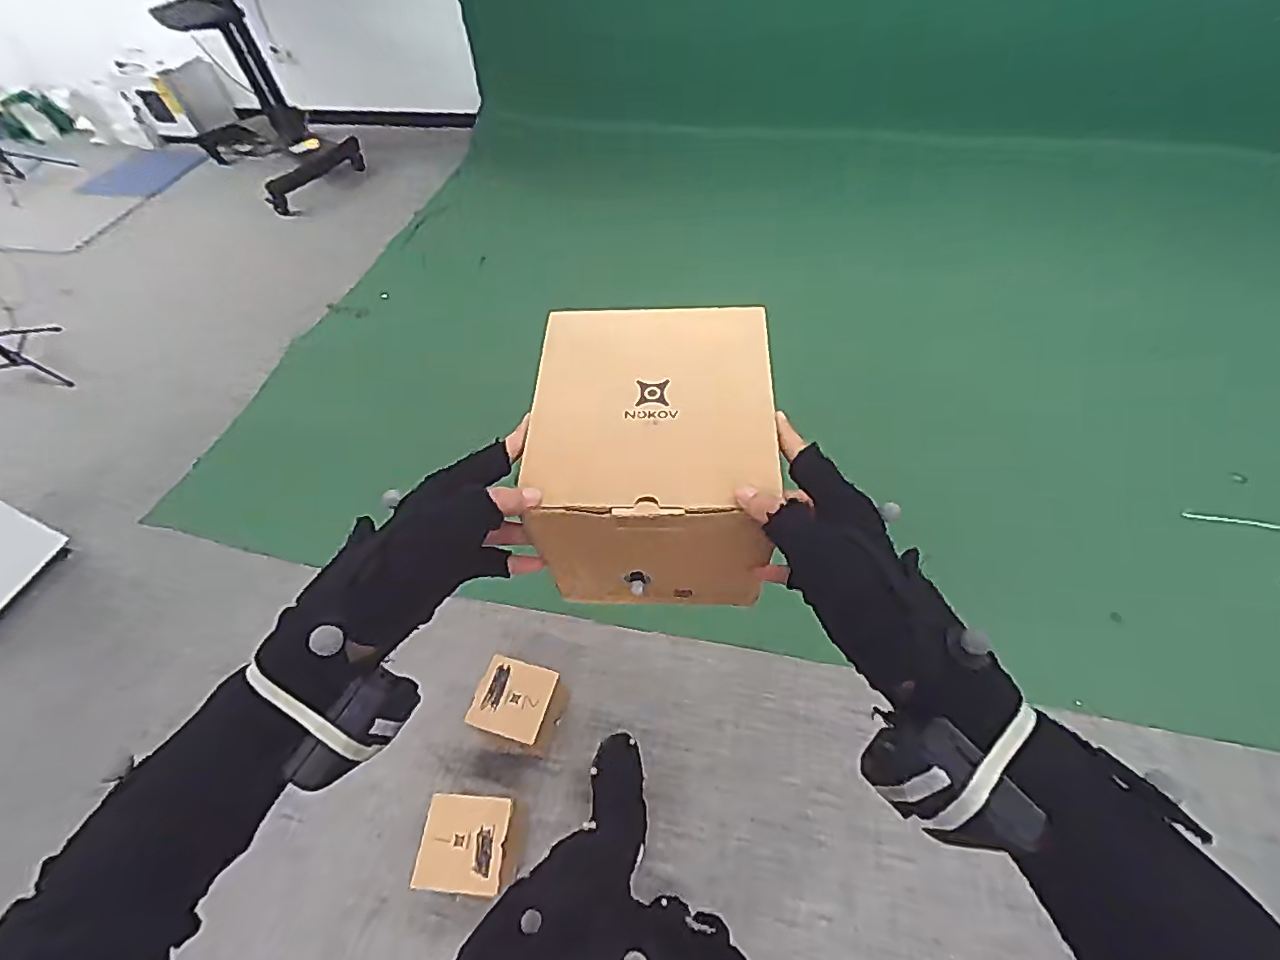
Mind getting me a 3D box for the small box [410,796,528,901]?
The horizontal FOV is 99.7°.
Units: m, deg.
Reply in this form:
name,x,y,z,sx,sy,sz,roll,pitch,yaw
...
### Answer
name,x,y,z,sx,sy,sz,roll,pitch,yaw
small box,-0.348,0.778,1.145,0.179,0.176,0.168,1,53,5
